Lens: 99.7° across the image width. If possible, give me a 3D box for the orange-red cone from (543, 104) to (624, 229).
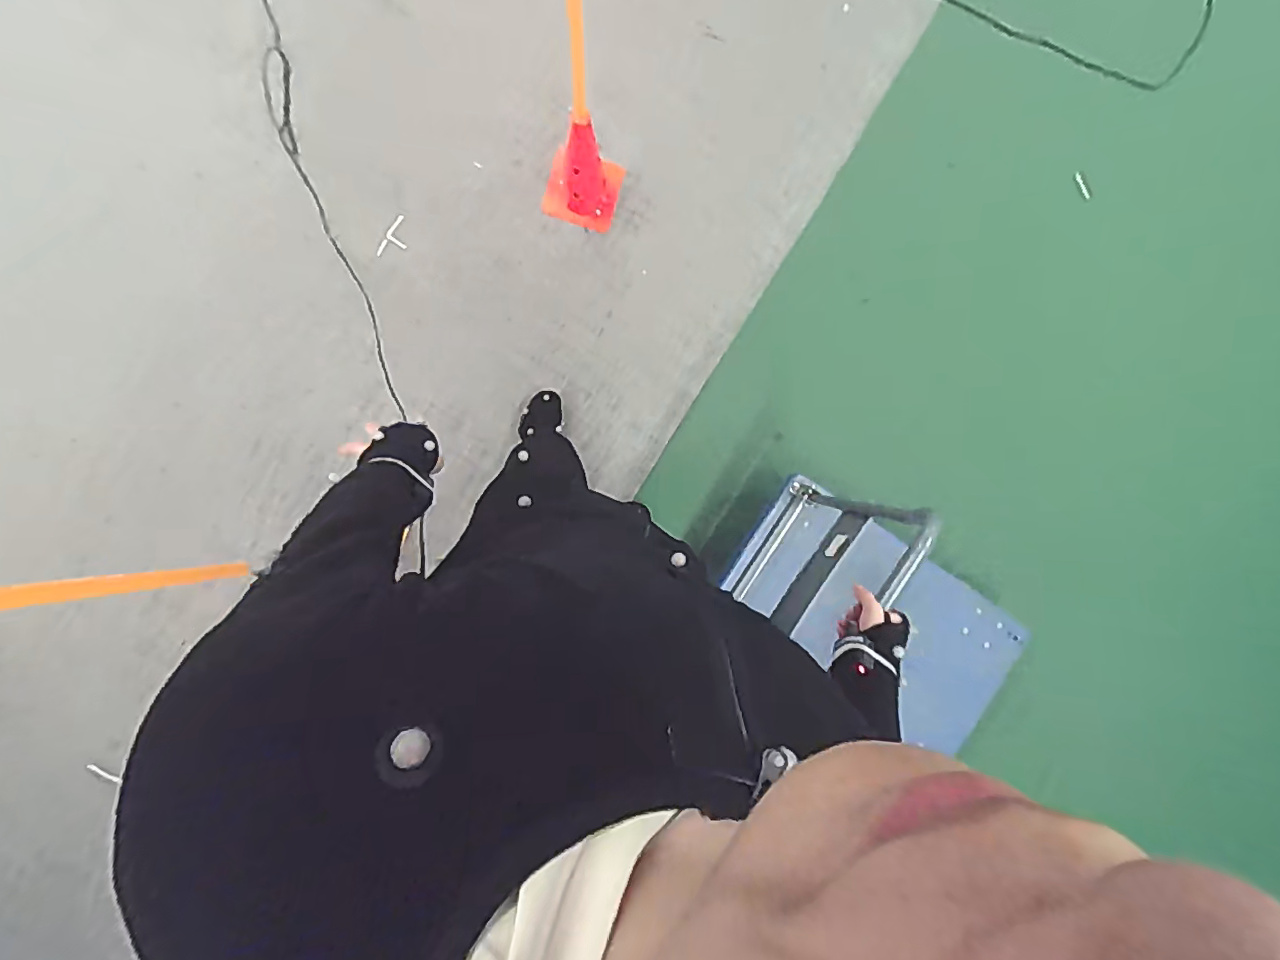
[{"bbox_3d":[-0.146,-0.836,1.387,0.198,0.360,0.199,17,90,-6],"label":"orange-red cone"}]
